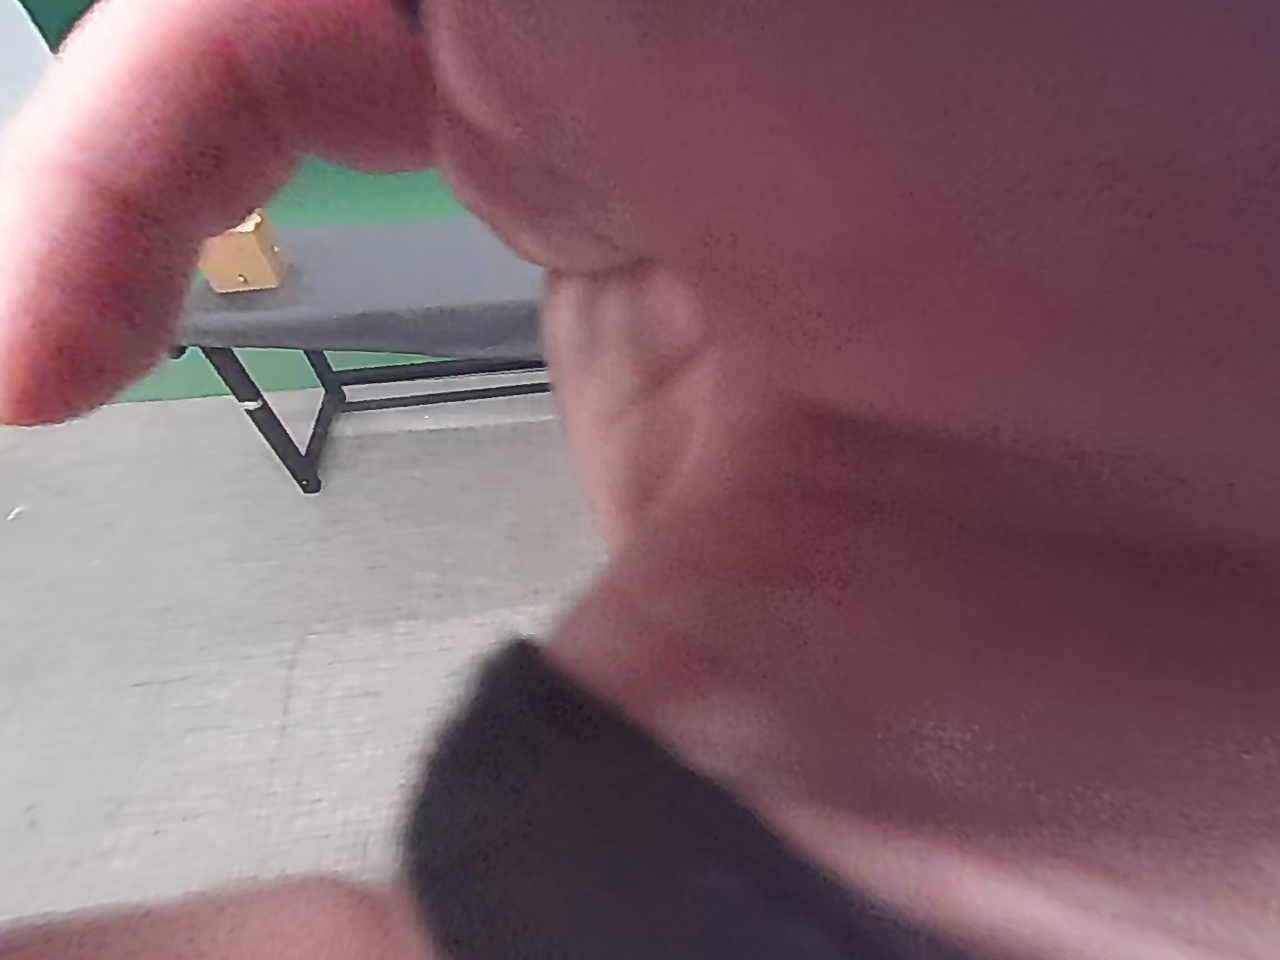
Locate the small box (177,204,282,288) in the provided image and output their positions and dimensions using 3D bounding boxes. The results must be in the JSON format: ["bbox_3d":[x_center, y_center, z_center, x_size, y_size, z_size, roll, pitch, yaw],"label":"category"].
[{"bbox_3d":[-1.172,-0.676,1.563,0.179,0.176,0.168,-10,49,-12],"label":"small box"}]
